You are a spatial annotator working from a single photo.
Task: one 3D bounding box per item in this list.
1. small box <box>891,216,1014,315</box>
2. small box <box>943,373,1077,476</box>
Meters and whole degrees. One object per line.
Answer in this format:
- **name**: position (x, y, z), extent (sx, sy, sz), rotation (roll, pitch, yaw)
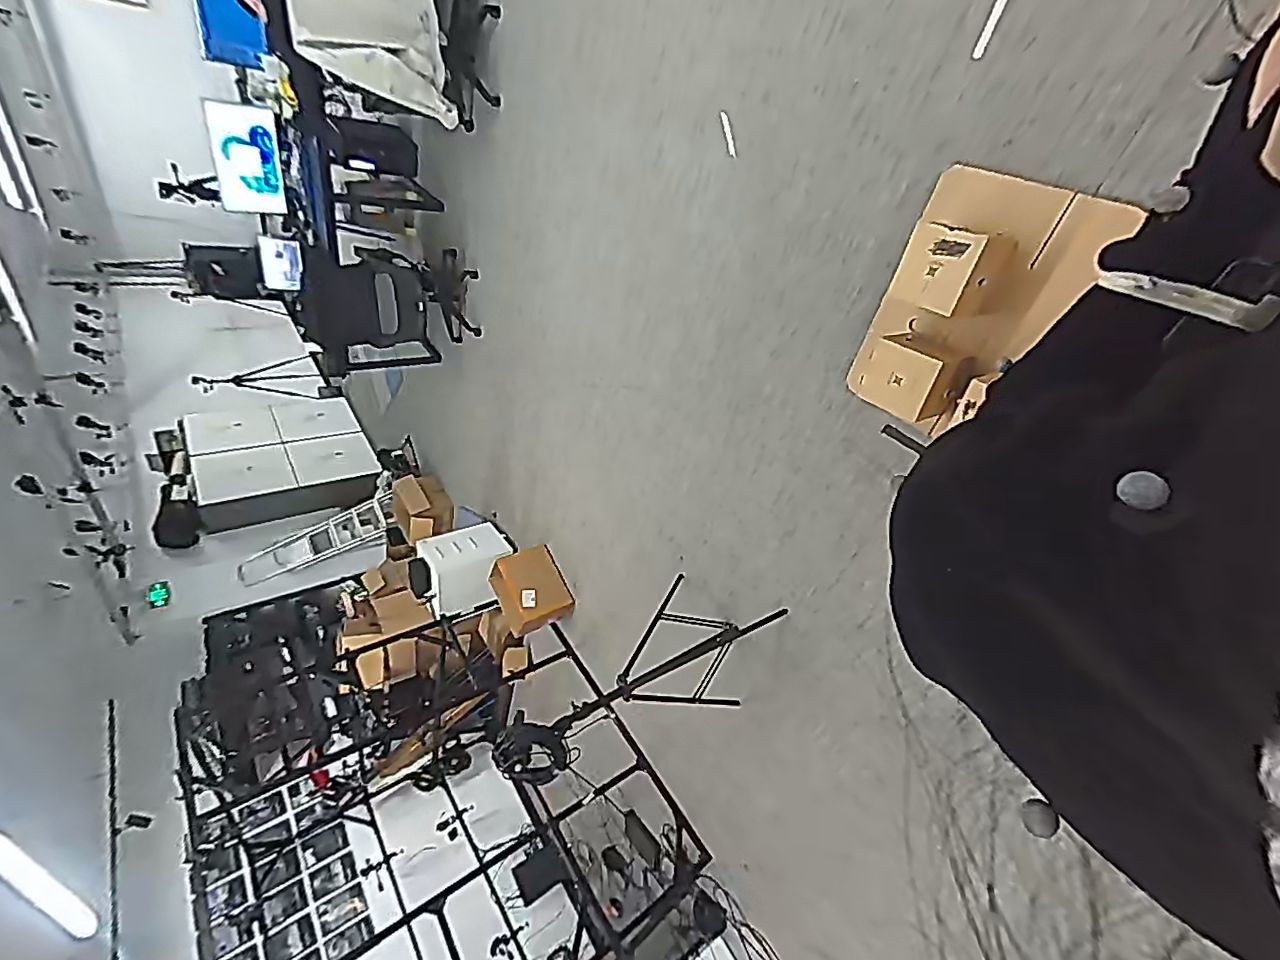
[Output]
- **small box**: position (0.734, -0.502, 1.265), extent (0.168, 0.176, 0.179), rotation (41, 133, 37)
- **small box**: position (0.849, -0.137, 1.240), extent (0.179, 0.176, 0.168), rotation (40, 131, 37)
